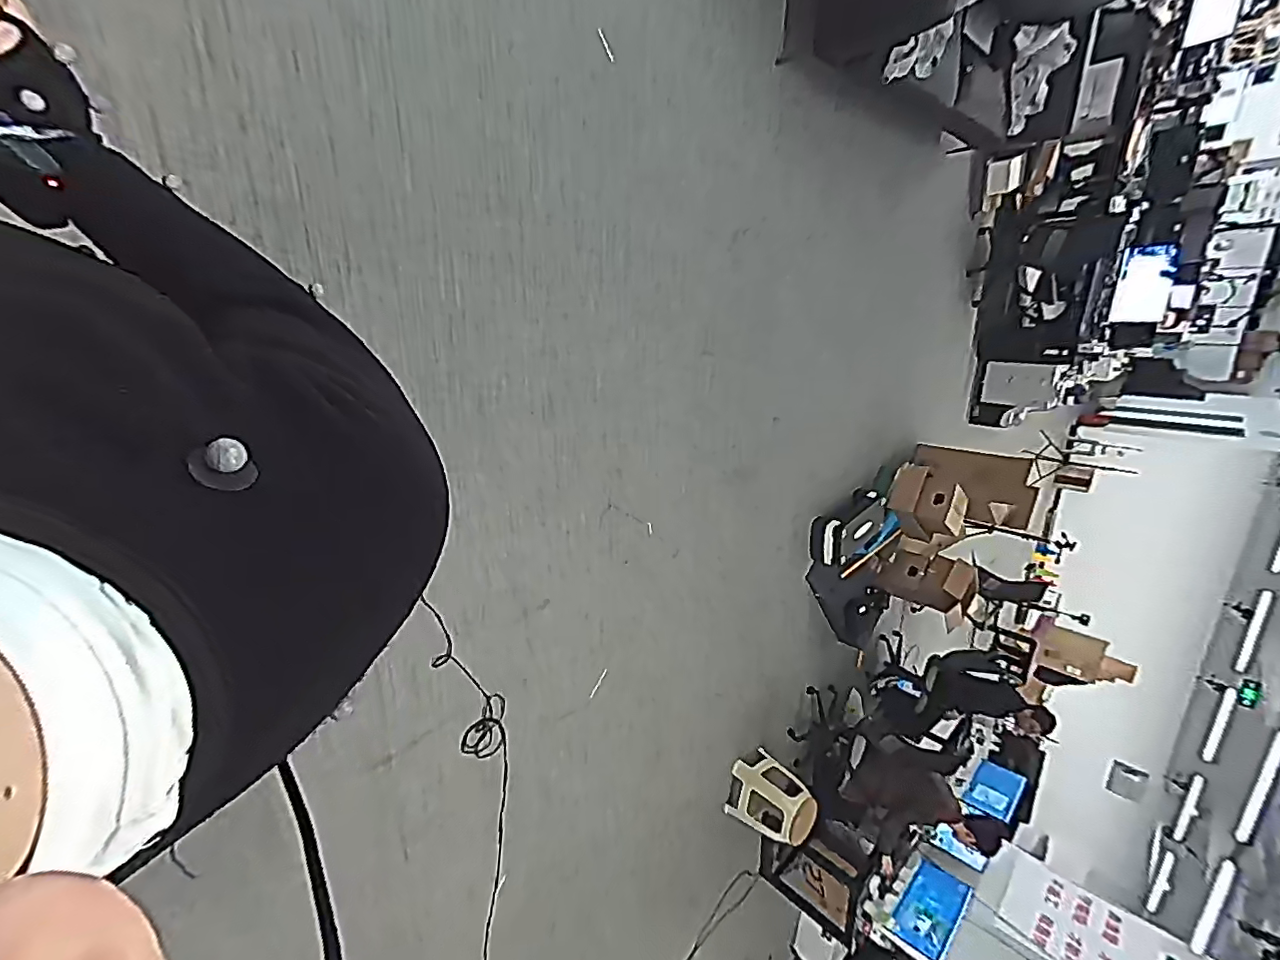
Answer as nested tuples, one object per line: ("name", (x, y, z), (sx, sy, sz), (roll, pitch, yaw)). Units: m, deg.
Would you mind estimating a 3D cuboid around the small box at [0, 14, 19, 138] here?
("small box", (-0.639, -0.397, 0.428), (0.179, 0.176, 0.168), (-14, 106, -44))
